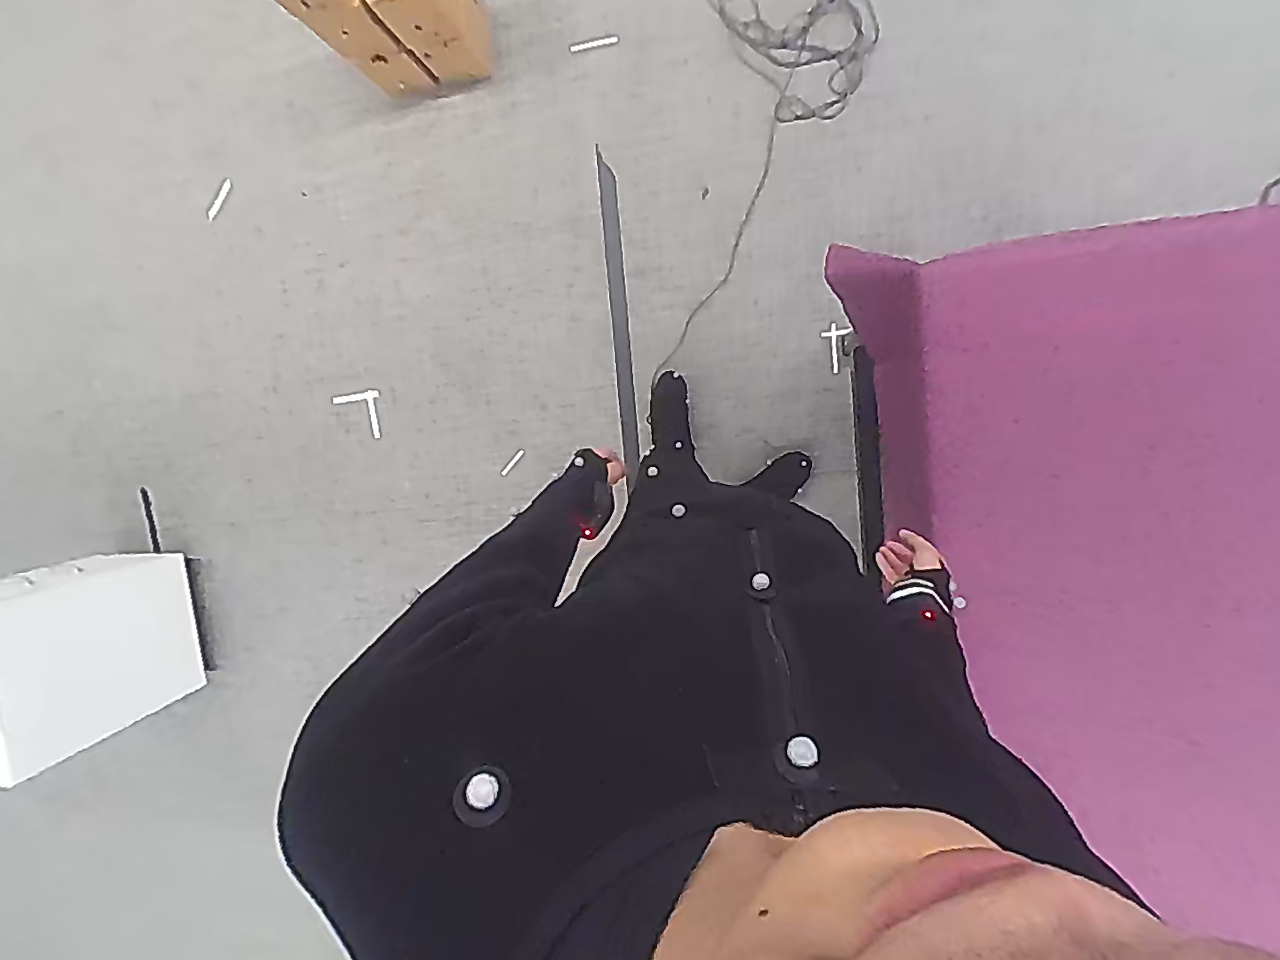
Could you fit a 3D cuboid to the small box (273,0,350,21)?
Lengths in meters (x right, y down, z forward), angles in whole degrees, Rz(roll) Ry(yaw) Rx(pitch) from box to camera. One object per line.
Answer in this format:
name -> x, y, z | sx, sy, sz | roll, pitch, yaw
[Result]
small box -> -0.781, -1.190, 1.214 | 0.168, 0.176, 0.179 | 4, 98, 11
